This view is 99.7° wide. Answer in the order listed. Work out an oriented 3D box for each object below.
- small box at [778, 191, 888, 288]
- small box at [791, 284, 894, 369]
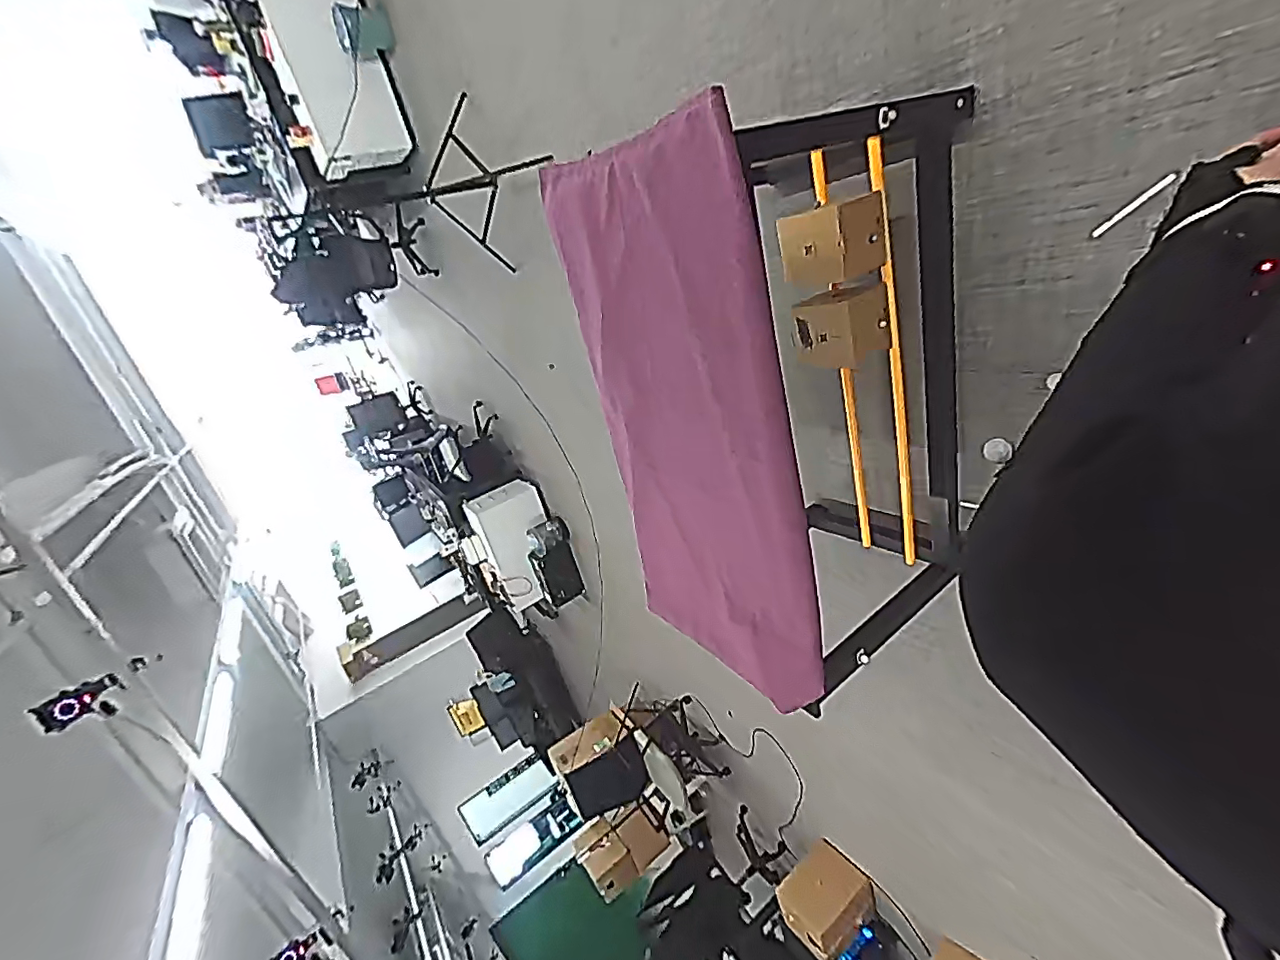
[{"bbox_3d":[0.461,-0.571,1.293,0.179,0.176,0.168,16,129,54],"label":"small box"},{"bbox_3d":[0.515,-0.389,1.376,0.179,0.176,0.168,16,129,53],"label":"small box"}]
